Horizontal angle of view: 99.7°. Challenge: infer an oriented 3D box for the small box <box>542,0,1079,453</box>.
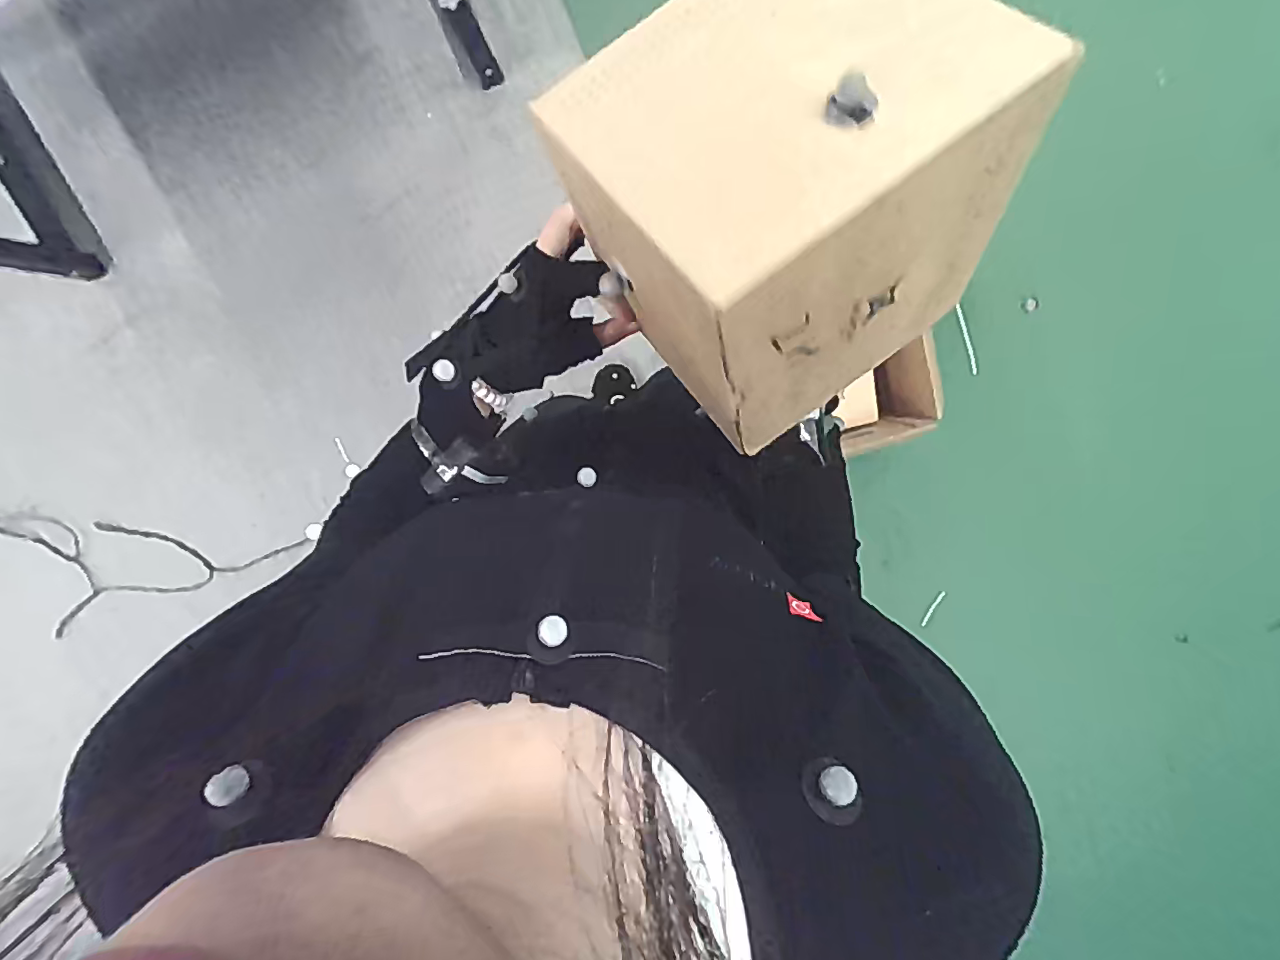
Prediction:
[{"bbox_3d":[0.077,-0.151,0.314,0.179,0.168,0.176,-37,69,2],"label":"small box"}]
